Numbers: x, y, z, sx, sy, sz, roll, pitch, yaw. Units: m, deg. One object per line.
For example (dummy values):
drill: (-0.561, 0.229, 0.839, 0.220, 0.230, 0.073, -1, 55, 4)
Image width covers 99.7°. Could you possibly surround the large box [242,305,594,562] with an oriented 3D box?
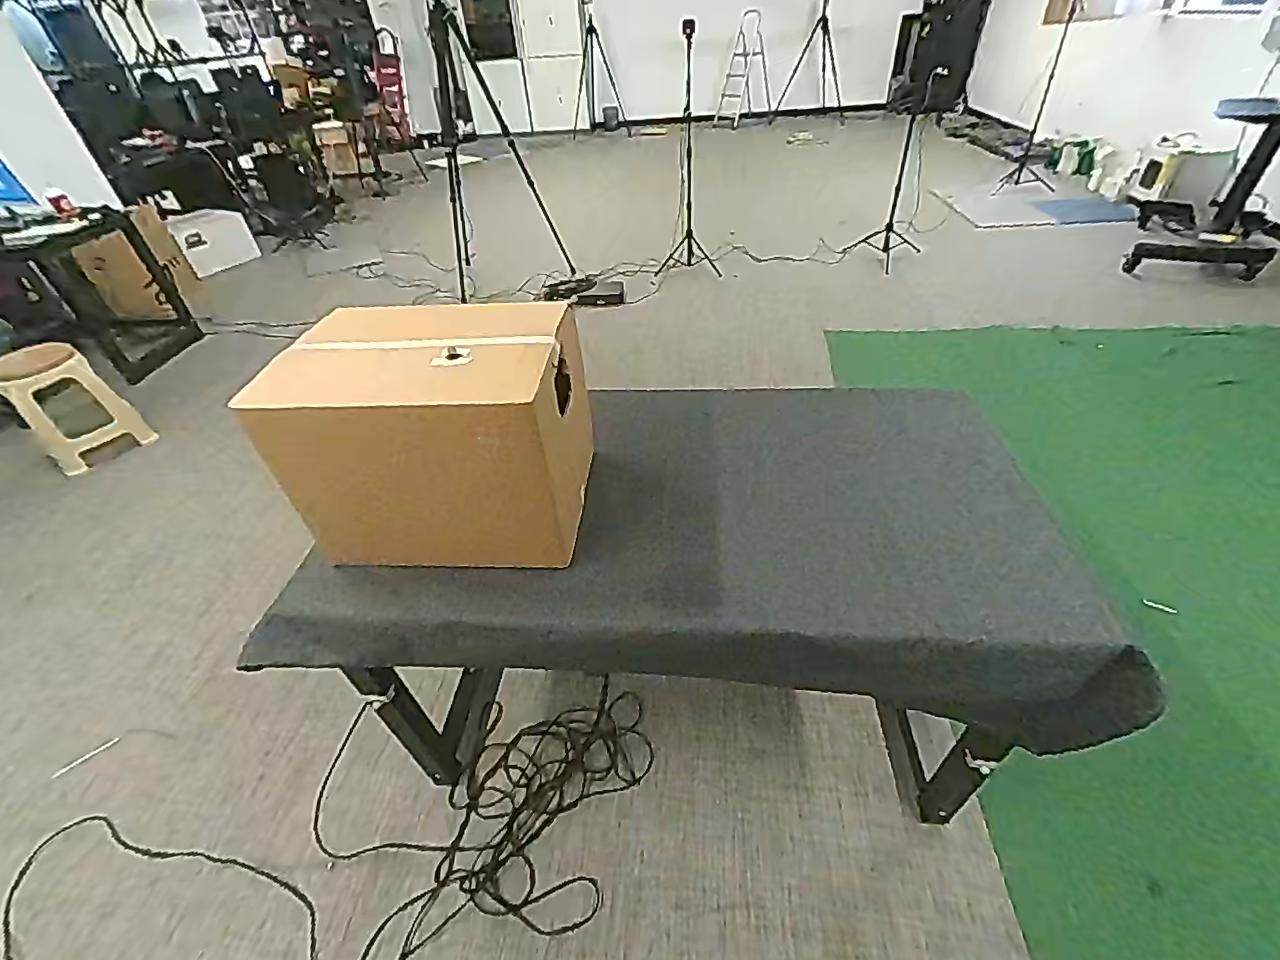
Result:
large box: (-0.302, -0.077, 0.886, 0.408, 0.320, 0.320, 0, 41, 4)
